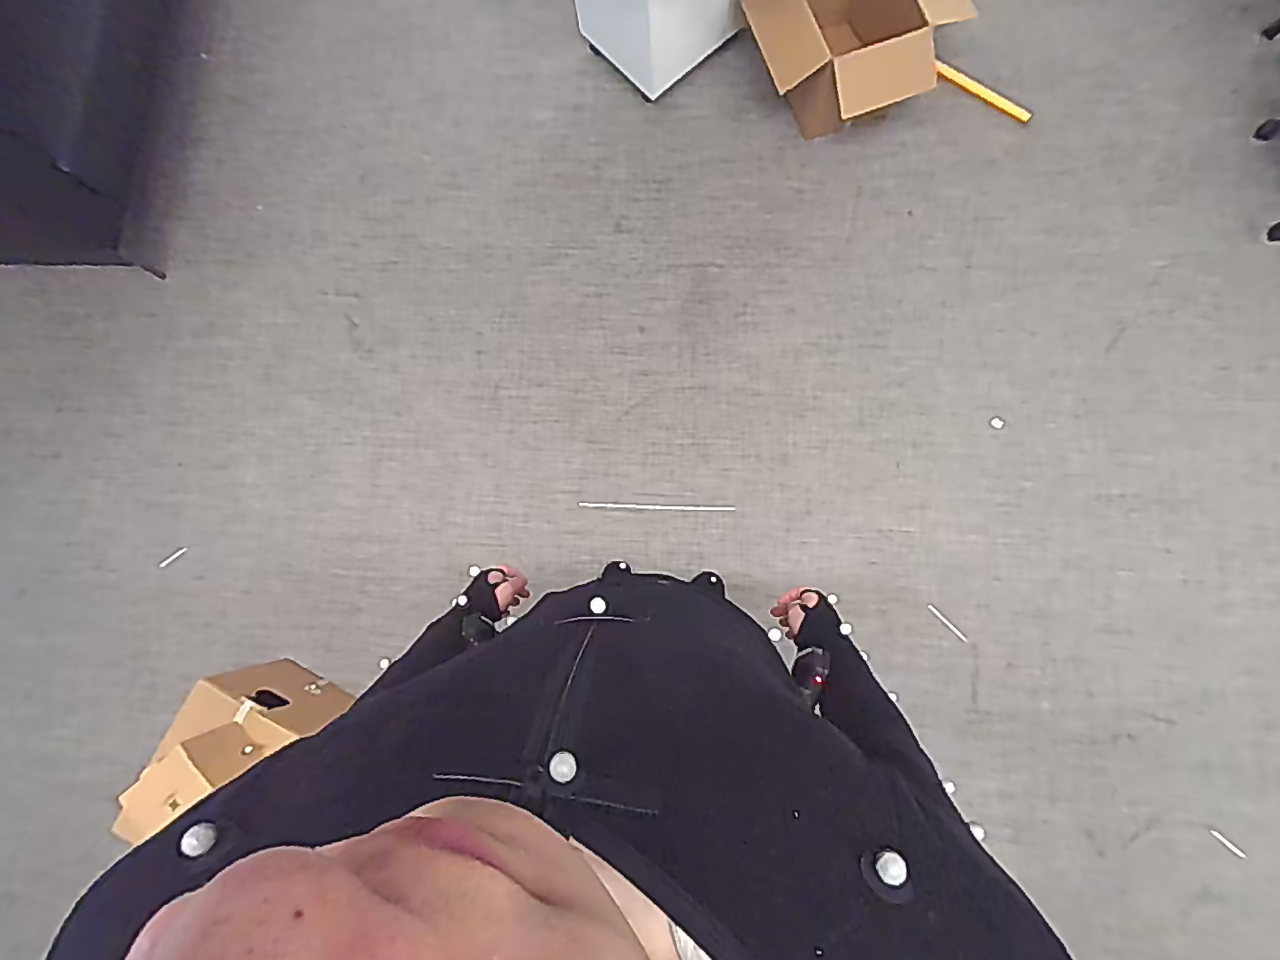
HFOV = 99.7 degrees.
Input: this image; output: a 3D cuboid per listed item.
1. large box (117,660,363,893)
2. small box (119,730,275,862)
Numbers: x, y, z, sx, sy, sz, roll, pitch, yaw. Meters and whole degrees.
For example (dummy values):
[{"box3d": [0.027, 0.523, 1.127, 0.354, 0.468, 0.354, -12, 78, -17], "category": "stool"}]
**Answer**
[{"box3d": [-1.046, 0.762, 1.465, 0.320, 0.320, 0.408, 25, 84, 7], "category": "large box"}, {"box3d": [-0.990, 0.696, 1.224, 0.168, 0.176, 0.179, -44, 82, -5], "category": "small box"}]
